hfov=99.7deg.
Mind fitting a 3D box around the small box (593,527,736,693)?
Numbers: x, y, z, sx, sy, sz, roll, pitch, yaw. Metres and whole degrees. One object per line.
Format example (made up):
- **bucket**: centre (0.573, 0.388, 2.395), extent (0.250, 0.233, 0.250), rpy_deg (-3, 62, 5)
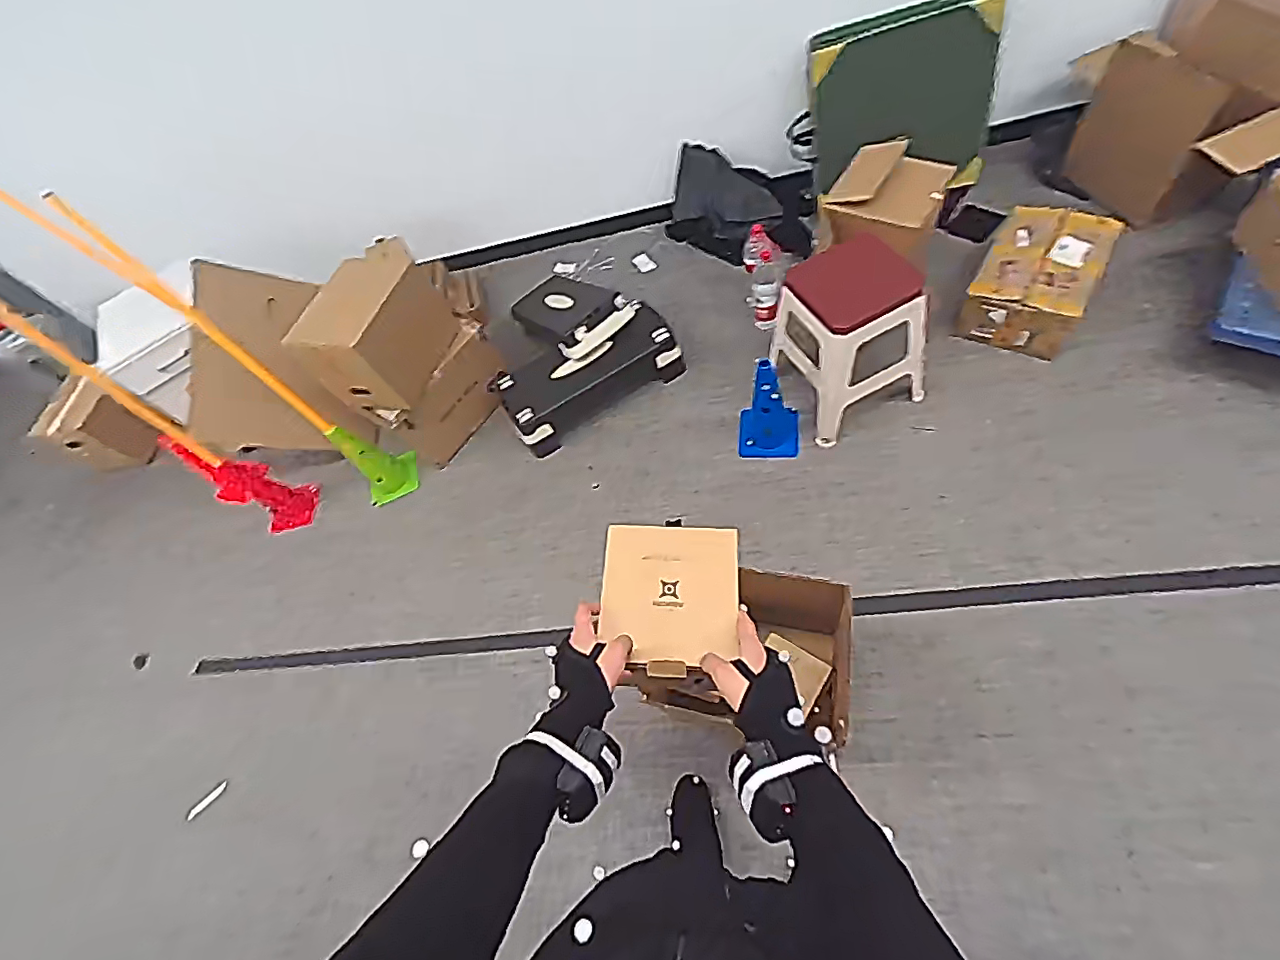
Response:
- **small box**: centre (0.040, 0.178, 0.718), extent (0.168, 0.176, 0.179), rpy_deg (2, 61, 6)
